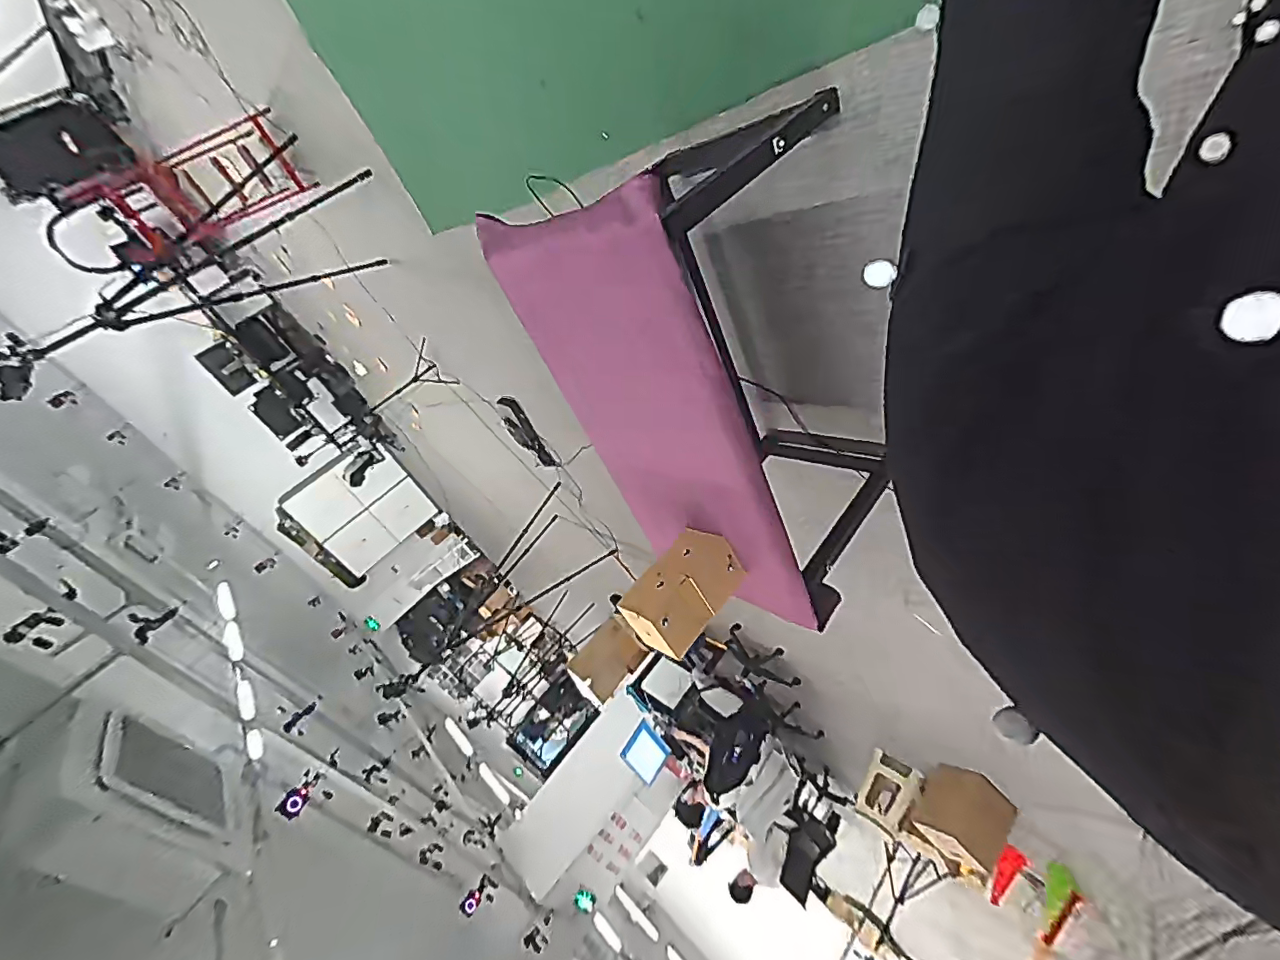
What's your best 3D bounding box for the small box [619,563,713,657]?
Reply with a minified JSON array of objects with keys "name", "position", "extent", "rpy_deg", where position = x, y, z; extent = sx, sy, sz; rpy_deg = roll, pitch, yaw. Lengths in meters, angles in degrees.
[{"name":"small box","position":[0.080,0.369,1.561],"extent":[0.168,0.176,0.179],"rpy_deg":[7,136,54]}]
